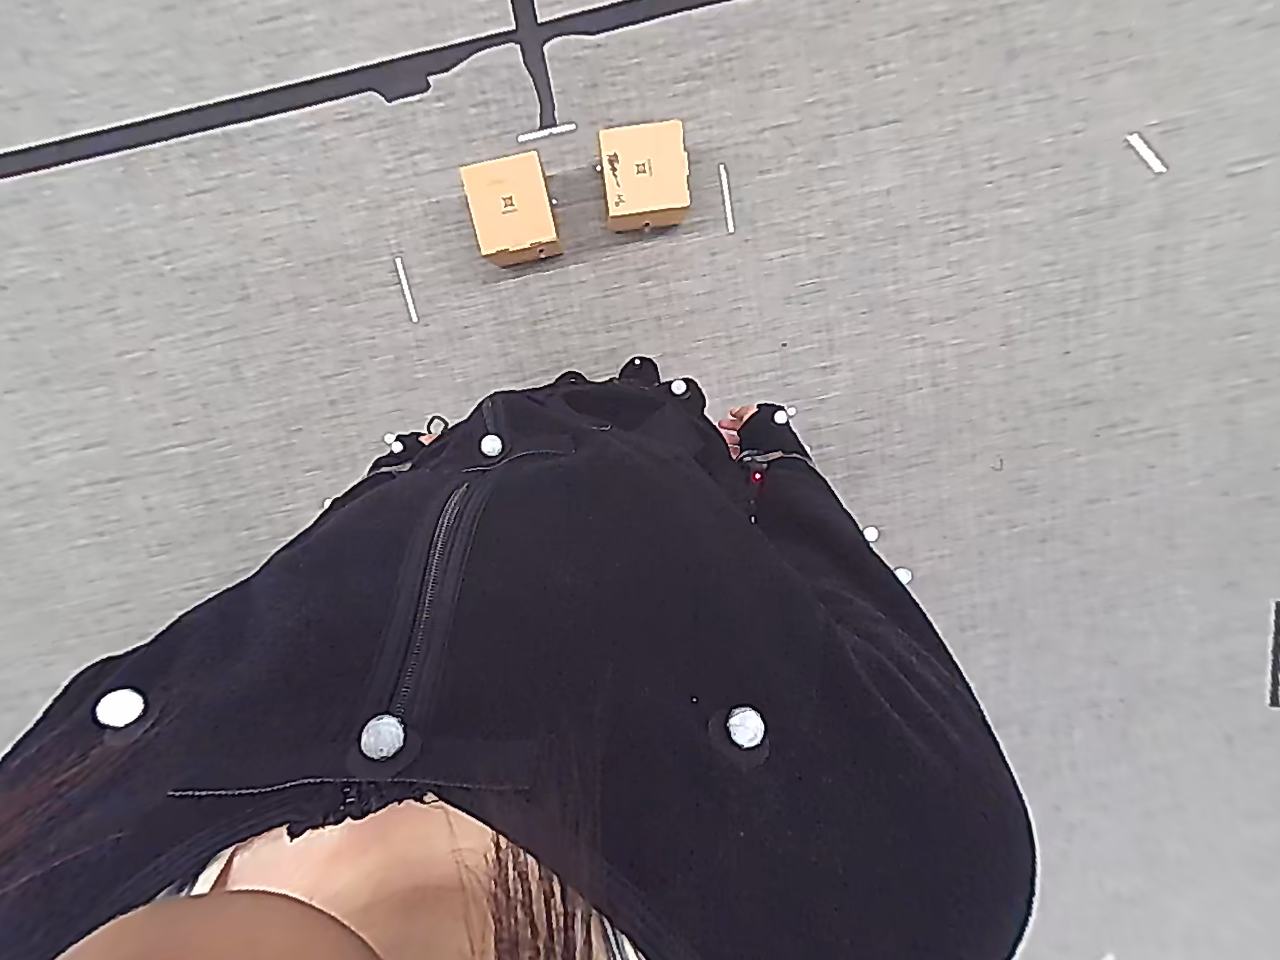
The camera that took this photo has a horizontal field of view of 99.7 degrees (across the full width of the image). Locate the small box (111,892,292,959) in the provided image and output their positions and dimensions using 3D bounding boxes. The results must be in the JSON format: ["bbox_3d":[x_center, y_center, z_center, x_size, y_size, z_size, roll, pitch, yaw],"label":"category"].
[{"bbox_3d":[-0.633,0.721,0.747,0.179,0.176,0.168,-11,105,1],"label":"small box"}]

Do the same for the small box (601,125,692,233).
[{"bbox_3d":[0.010,-0.658,1.197,0.179,0.176,0.168,-7,104,-2],"label":"small box"}]

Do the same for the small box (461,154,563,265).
[{"bbox_3d":[-0.273,-0.588,1.201,0.168,0.176,0.179,-13,103,-1],"label":"small box"}]
